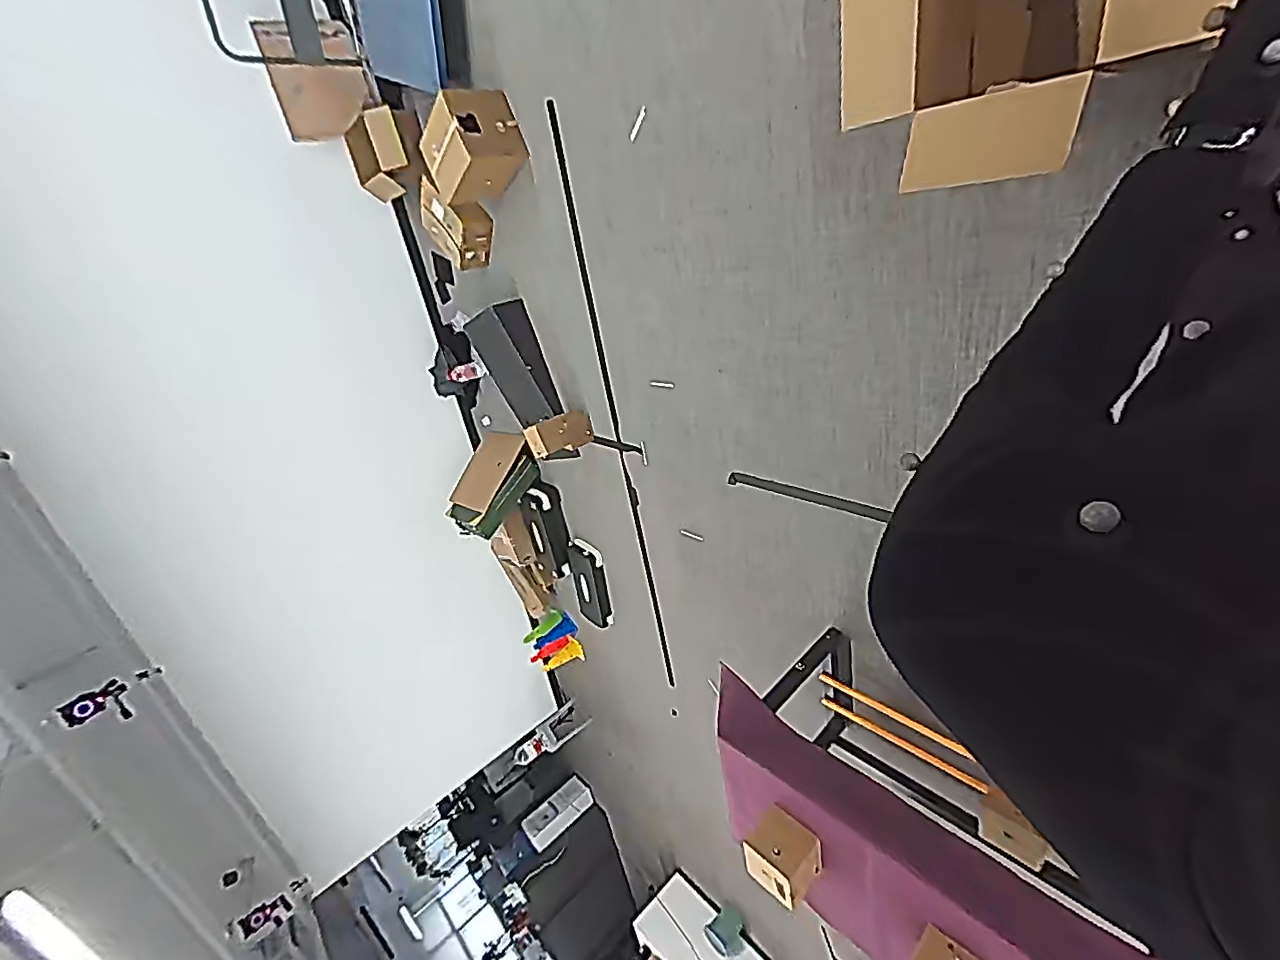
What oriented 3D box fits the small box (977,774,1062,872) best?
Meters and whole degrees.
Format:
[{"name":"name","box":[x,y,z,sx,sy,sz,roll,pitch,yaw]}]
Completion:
[{"name":"small box","box":[1.226,1.096,1.750,0.179,0.176,0.168,16,126,47]}]

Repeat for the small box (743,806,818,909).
[{"name":"small box","box":[0.455,1.196,1.728,0.179,0.176,0.168,18,127,47]}]
